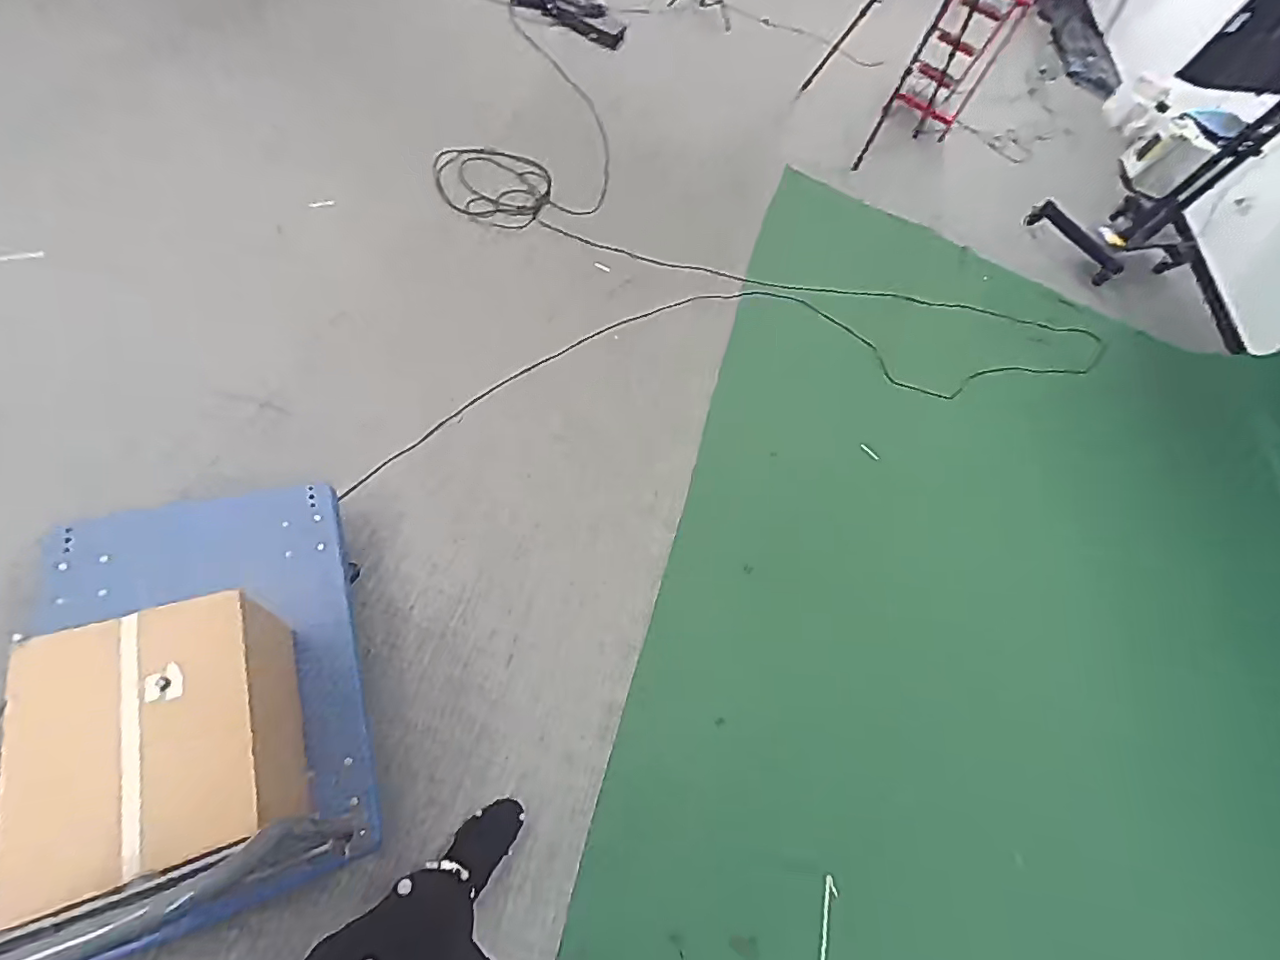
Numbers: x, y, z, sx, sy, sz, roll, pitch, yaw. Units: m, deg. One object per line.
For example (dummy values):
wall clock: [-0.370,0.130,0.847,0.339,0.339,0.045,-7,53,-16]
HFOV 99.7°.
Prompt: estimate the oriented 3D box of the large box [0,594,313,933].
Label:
large box: [-0.823,0.476,0.972,0.320,0.320,0.408,-12,66,-22]
